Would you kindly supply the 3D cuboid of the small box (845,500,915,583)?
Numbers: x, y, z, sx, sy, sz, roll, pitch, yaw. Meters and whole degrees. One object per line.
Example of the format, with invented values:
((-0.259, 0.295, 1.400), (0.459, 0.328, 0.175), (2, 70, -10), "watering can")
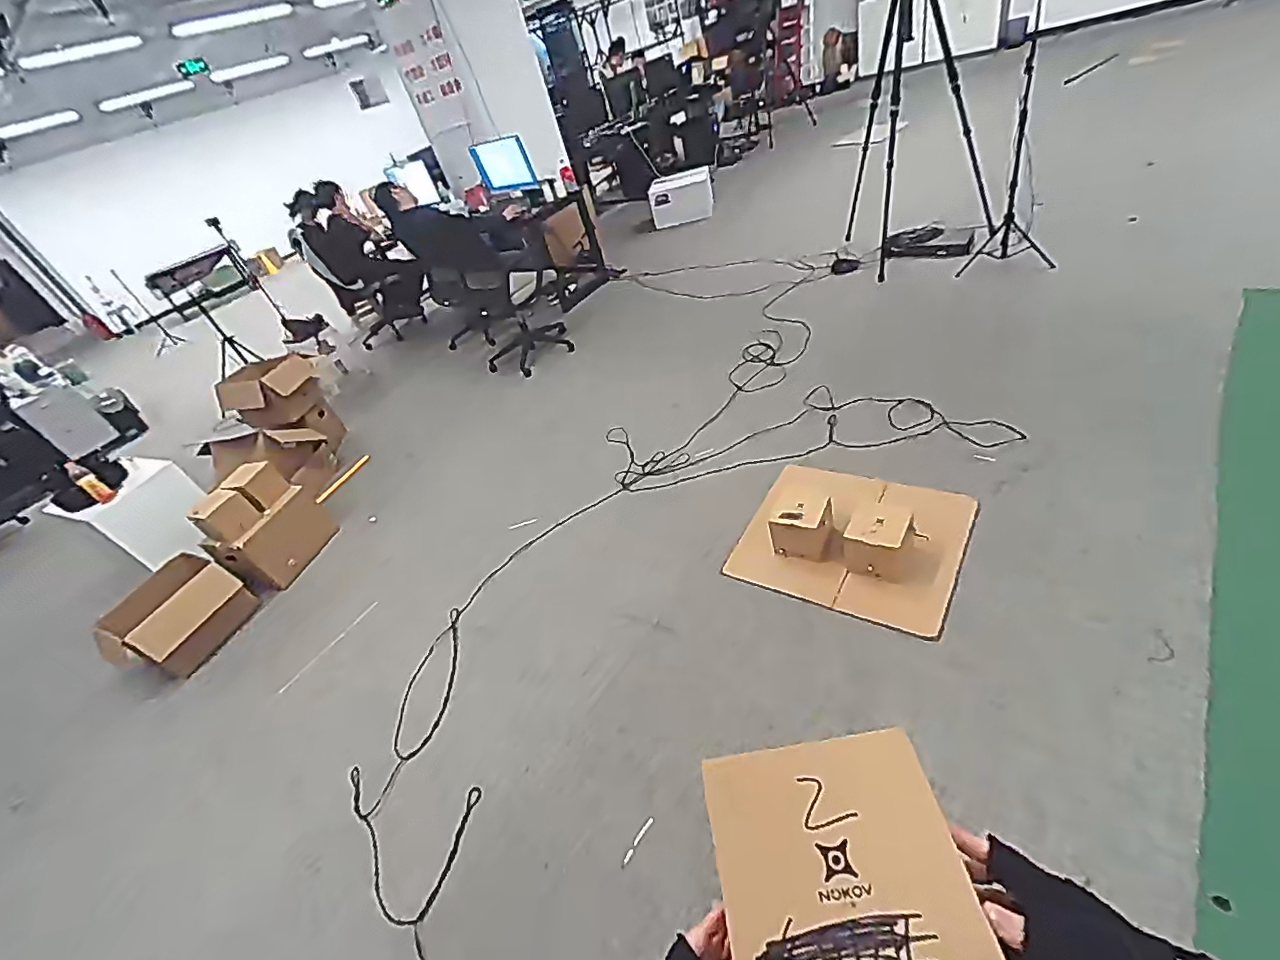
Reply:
((0.770, 0.195, 1.732), (0.168, 0.176, 0.179), (12, 49, 37), "small box")

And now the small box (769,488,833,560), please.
((0.564, 0.154, 1.872), (0.168, 0.176, 0.179), (8, 46, 33), "small box")
